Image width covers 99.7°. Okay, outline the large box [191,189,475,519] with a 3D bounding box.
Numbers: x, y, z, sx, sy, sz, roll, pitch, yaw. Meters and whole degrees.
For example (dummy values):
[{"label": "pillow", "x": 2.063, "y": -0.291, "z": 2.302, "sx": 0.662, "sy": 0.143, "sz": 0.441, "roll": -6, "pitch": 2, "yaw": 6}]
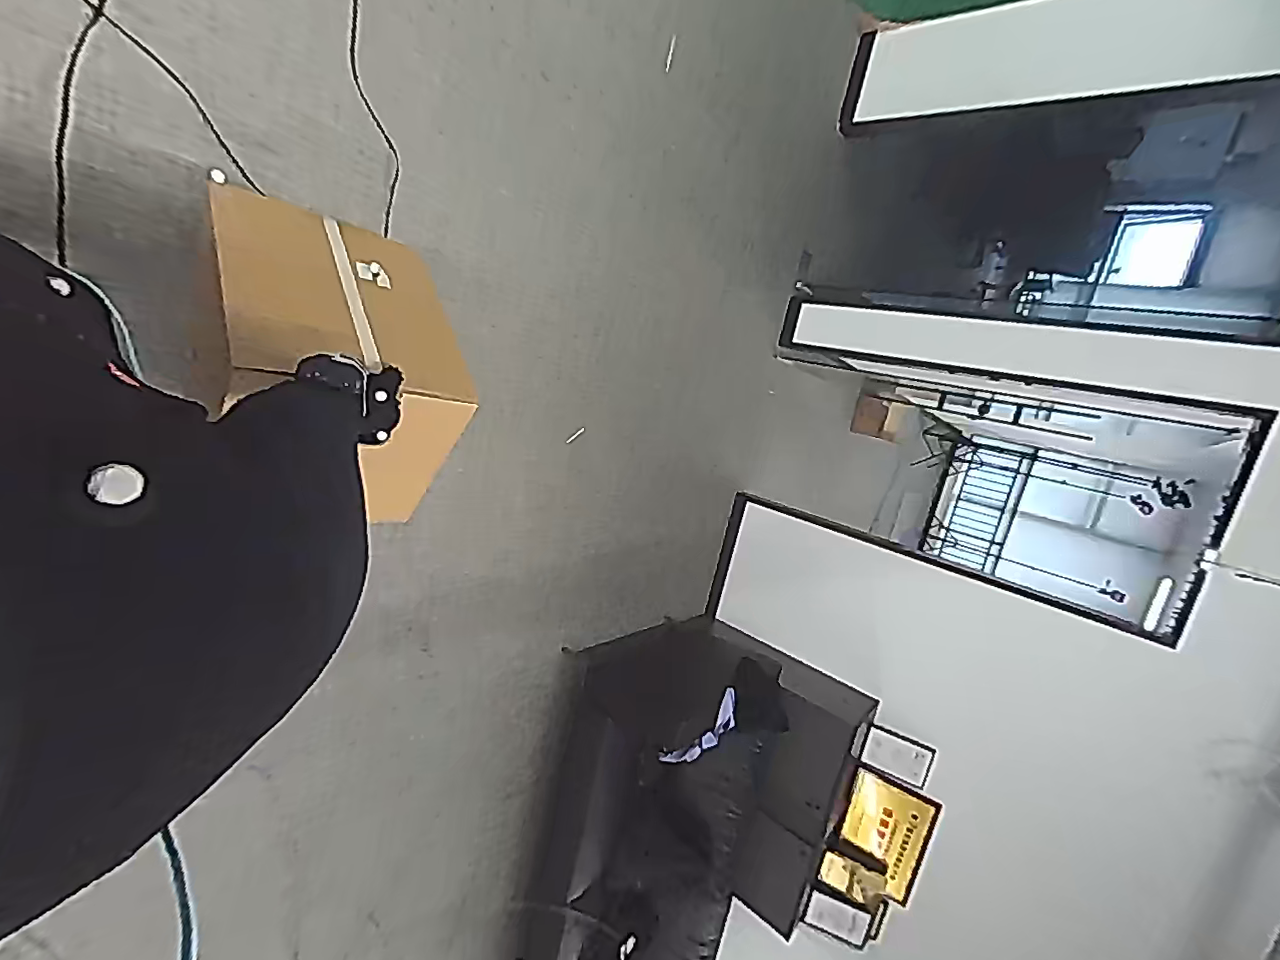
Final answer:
[{"label": "large box", "x": -0.530, "y": -0.184, "z": 0.903, "sx": 0.320, "sy": 0.408, "sz": 0.320, "roll": 3, "pitch": 139, "yaw": -45}]
